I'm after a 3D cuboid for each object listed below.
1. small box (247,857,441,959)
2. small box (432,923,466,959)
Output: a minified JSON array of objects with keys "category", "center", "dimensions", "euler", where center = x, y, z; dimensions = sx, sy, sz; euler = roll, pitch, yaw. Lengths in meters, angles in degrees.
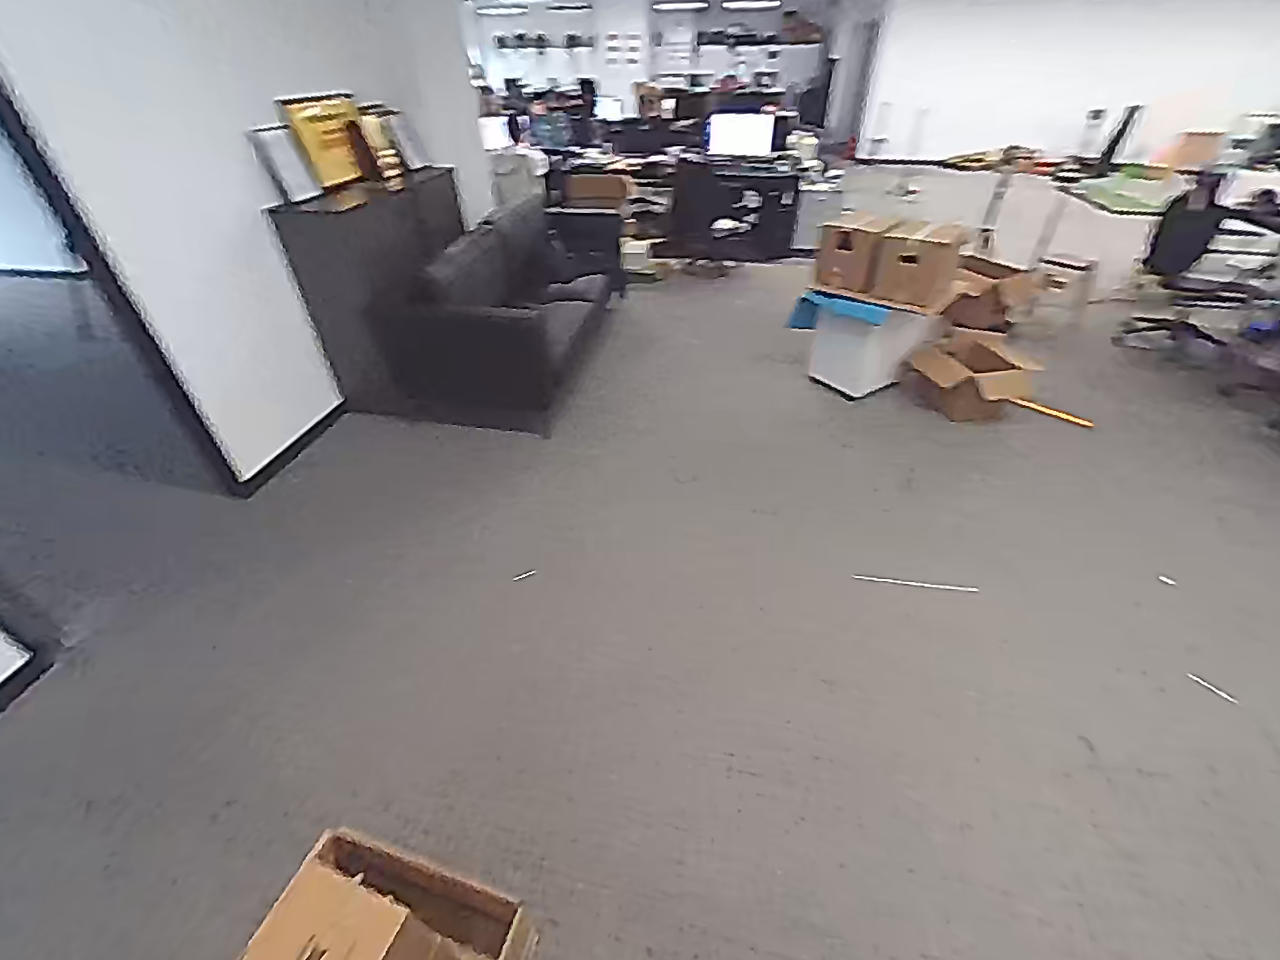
[{"category":"small box","center":[-0.419,0.686,0.768],"dimensions":[0.179,0.176,0.168],"euler":[12,42,17]},{"category":"small box","center":[-0.414,0.809,0.875],"dimensions":[0.179,0.176,0.168],"euler":[13,42,17]}]
